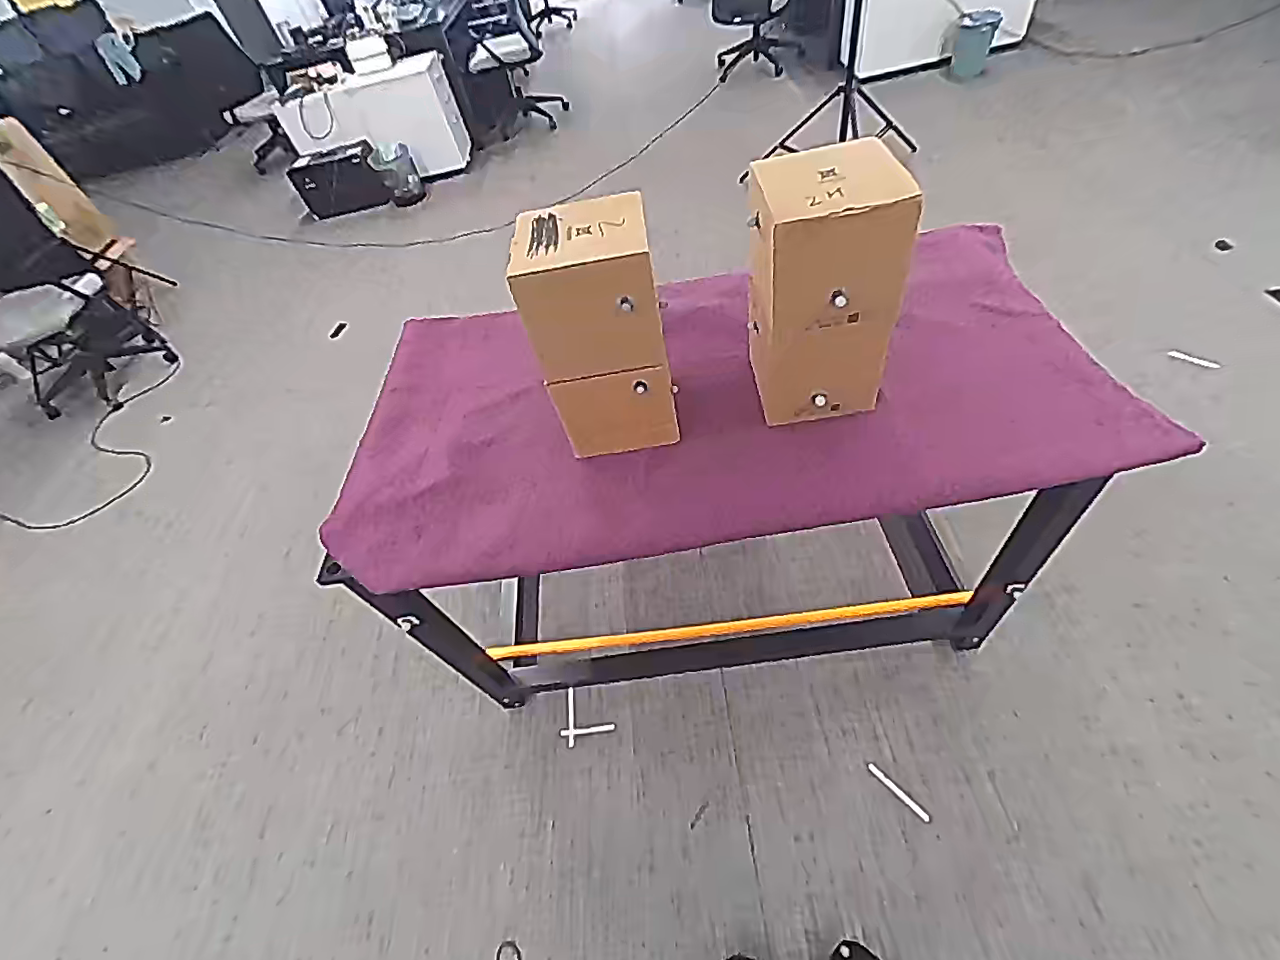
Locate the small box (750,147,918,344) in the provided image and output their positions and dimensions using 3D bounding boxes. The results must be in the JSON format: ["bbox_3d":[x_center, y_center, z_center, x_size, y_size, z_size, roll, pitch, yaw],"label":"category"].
[{"bbox_3d":[0.242,-0.310,0.725,0.168,0.176,0.179,-9,51,7],"label":"small box"}]

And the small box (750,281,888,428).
[{"bbox_3d":[0.266,-0.207,0.852,0.168,0.176,0.179,-8,51,7],"label":"small box"}]

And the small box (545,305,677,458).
[{"bbox_3d":[-0.042,-0.154,0.880,0.179,0.176,0.168,-9,50,5],"label":"small box"}]
